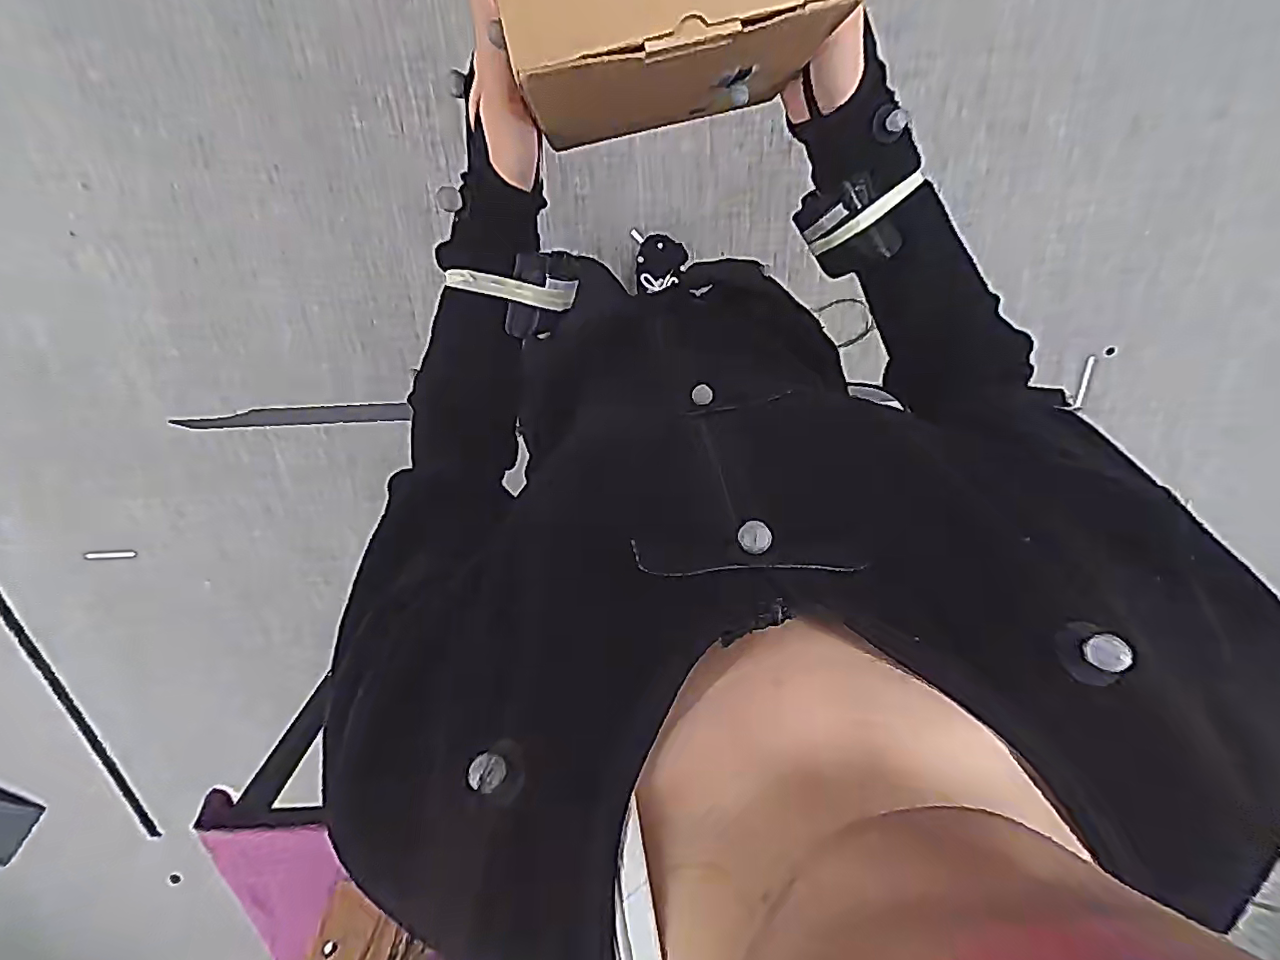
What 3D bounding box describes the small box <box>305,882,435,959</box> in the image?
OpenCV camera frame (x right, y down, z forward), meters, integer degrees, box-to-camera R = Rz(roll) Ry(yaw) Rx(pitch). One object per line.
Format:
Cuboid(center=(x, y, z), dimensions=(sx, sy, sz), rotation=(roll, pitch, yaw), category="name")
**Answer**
Cuboid(center=(-0.543, 0.952, 1.098), dimensions=(0.179, 0.176, 0.168), rotation=(-2, 115, 0), category="small box")
